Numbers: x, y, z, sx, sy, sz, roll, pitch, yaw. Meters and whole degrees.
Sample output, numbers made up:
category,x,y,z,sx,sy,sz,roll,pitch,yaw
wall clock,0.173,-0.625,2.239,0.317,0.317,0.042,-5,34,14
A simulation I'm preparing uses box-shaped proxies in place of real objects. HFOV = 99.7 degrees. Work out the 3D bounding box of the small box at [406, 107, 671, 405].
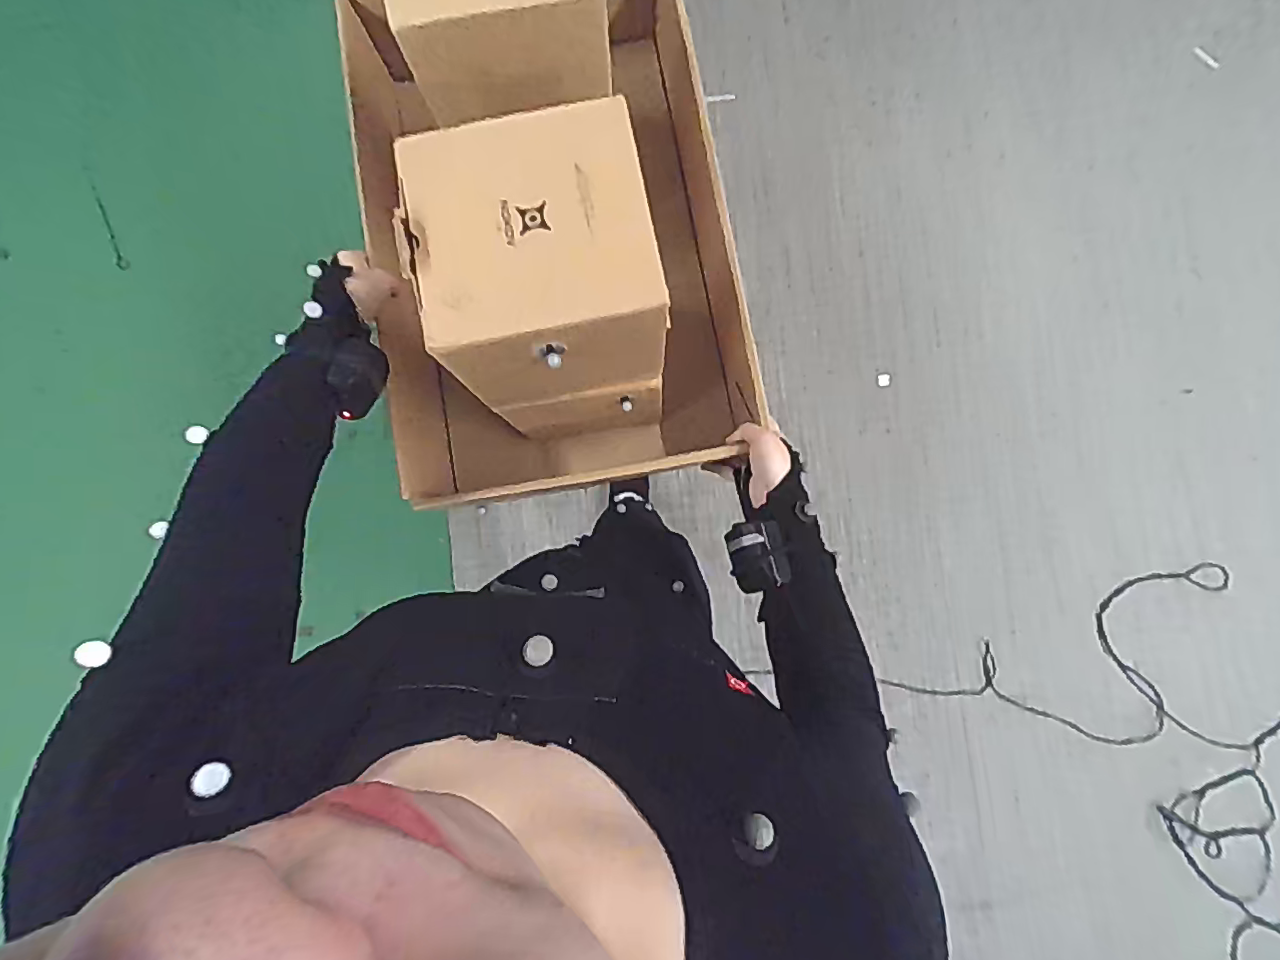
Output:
category,x,y,z,sx,sy,sz,roll,pitch,yaw
small box,-0.076,-0.175,0.475,0.179,0.176,0.168,-11,83,-2

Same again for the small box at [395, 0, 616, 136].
category,x,y,z,sx,sy,sz,roll,pitch,yaw
small box,-0.116,-0.425,0.501,0.168,0.176,0.179,-10,85,0
